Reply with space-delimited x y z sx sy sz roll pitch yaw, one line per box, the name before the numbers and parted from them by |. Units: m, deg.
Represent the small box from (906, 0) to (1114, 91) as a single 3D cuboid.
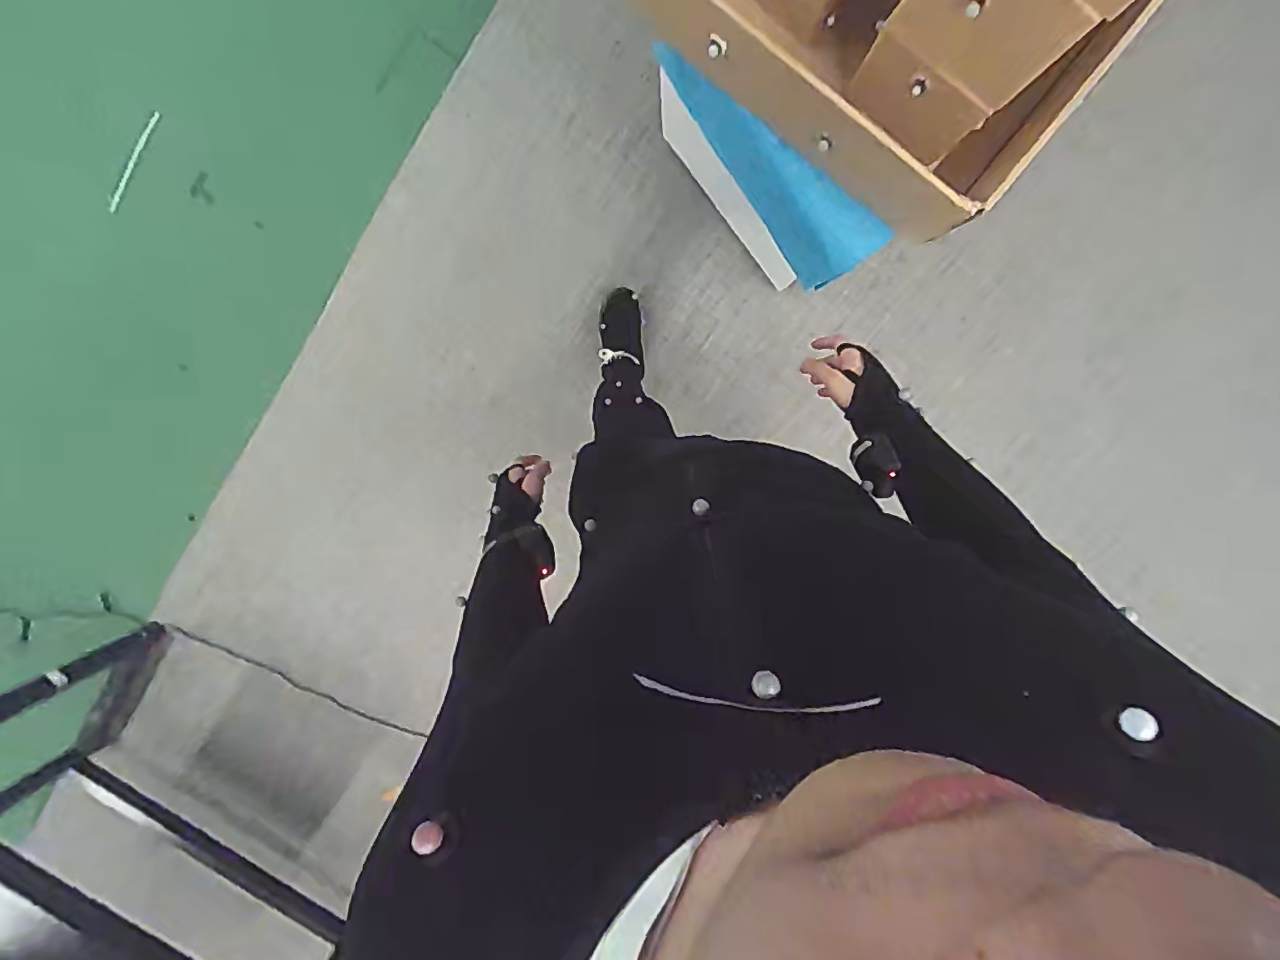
small box | 0.419 -0.561 0.563 0.179 0.176 0.168 37 101 -1
